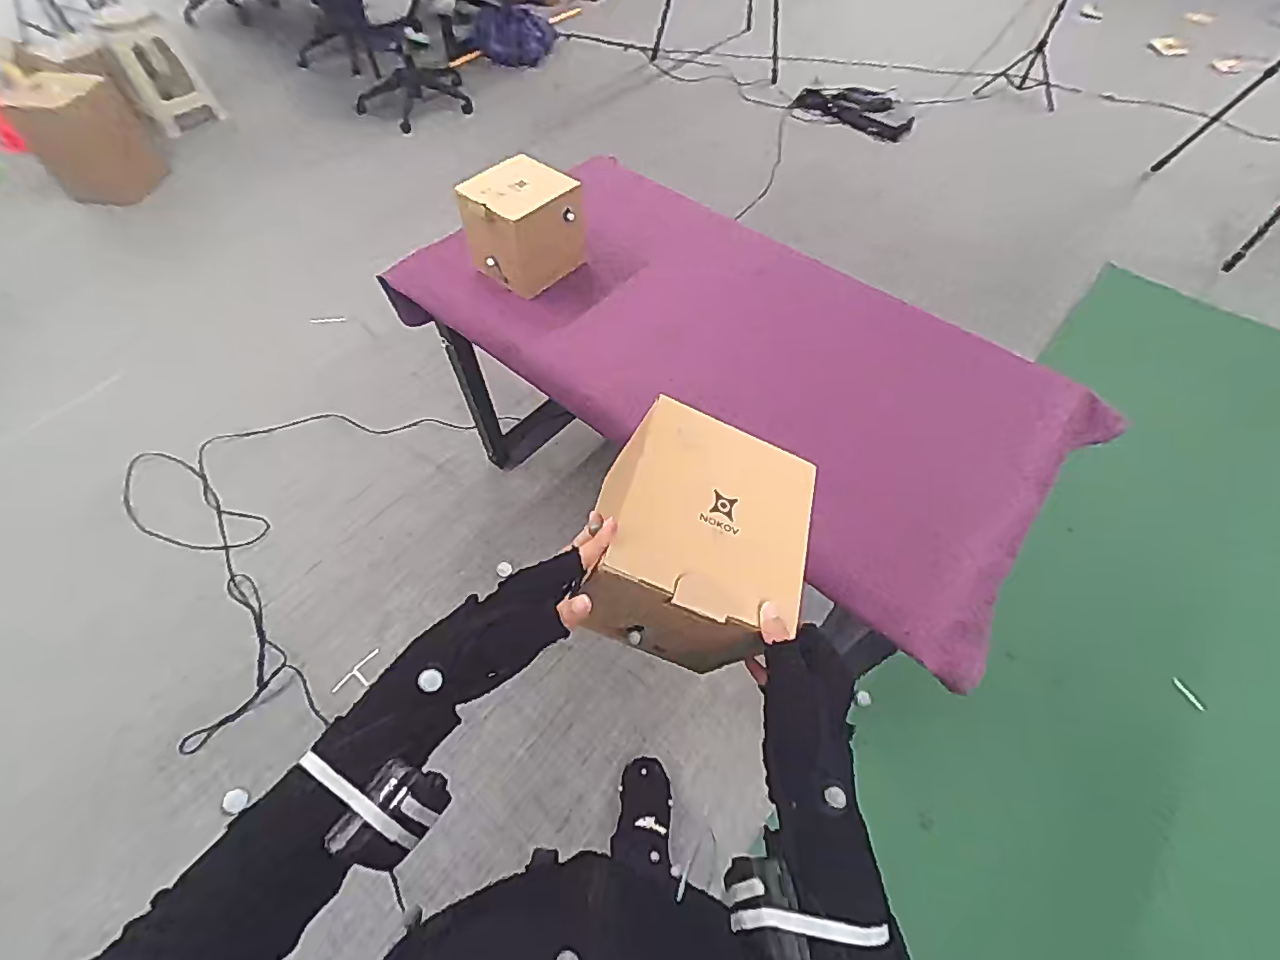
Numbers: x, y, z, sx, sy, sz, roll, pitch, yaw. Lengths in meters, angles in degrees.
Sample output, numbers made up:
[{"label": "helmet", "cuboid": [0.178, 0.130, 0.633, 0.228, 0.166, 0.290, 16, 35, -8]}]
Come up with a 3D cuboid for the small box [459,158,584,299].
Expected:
[{"label": "small box", "cuboid": [-0.226, -0.500, 1.081, 0.168, 0.176, 0.179, 35, 63, 20]}]

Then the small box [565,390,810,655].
[{"label": "small box", "cuboid": [0.040, 0.052, 0.528, 0.168, 0.176, 0.179, 24, 59, -9]}]
